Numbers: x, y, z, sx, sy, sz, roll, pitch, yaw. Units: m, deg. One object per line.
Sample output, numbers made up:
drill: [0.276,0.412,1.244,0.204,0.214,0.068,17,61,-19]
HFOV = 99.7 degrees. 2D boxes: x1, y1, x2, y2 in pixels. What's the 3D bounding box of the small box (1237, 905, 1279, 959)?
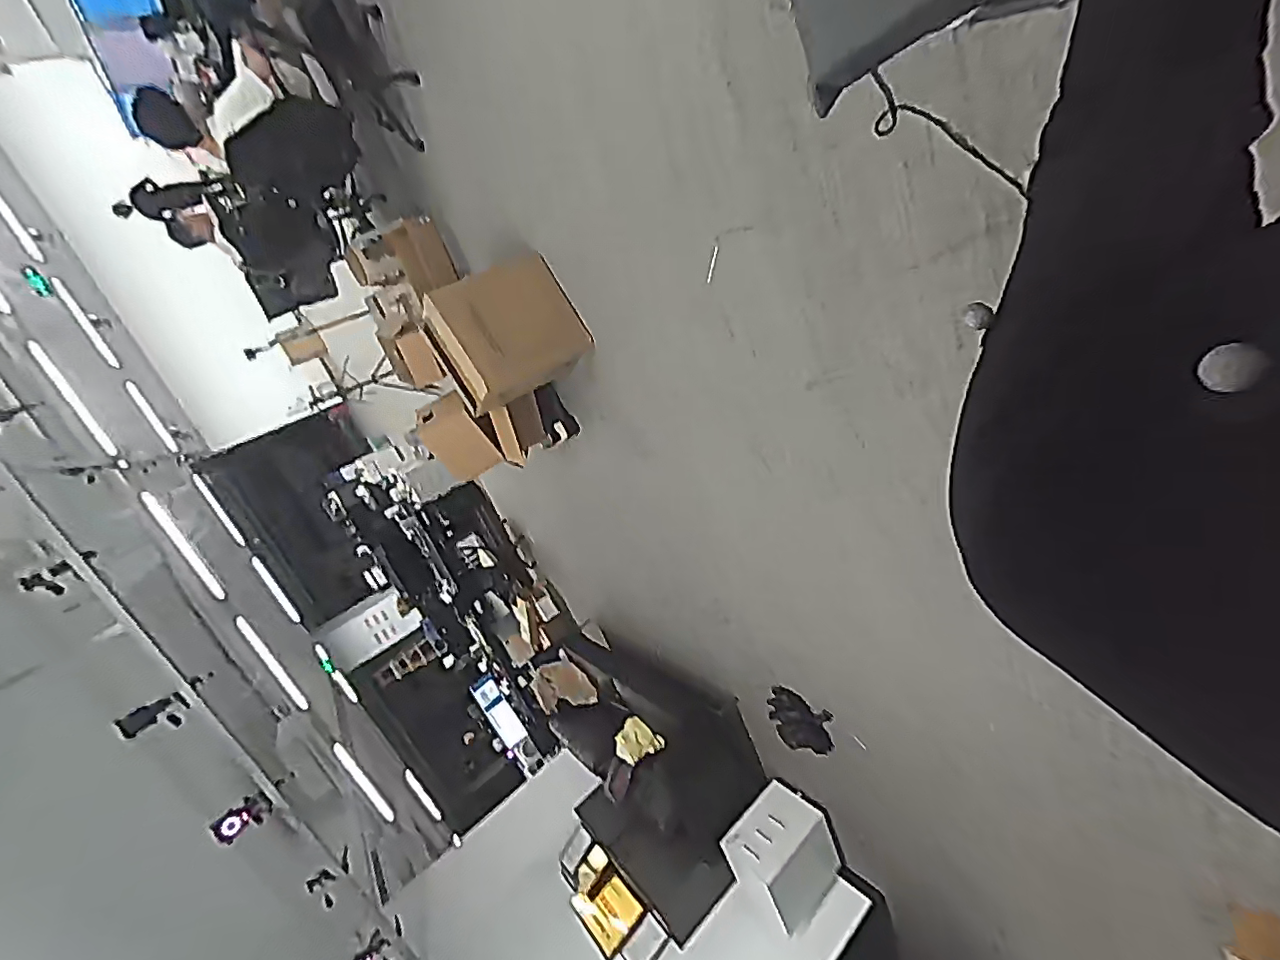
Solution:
small box: [1.806,1.337,1.501,0.179,0.176,0.168,4,123,55]
